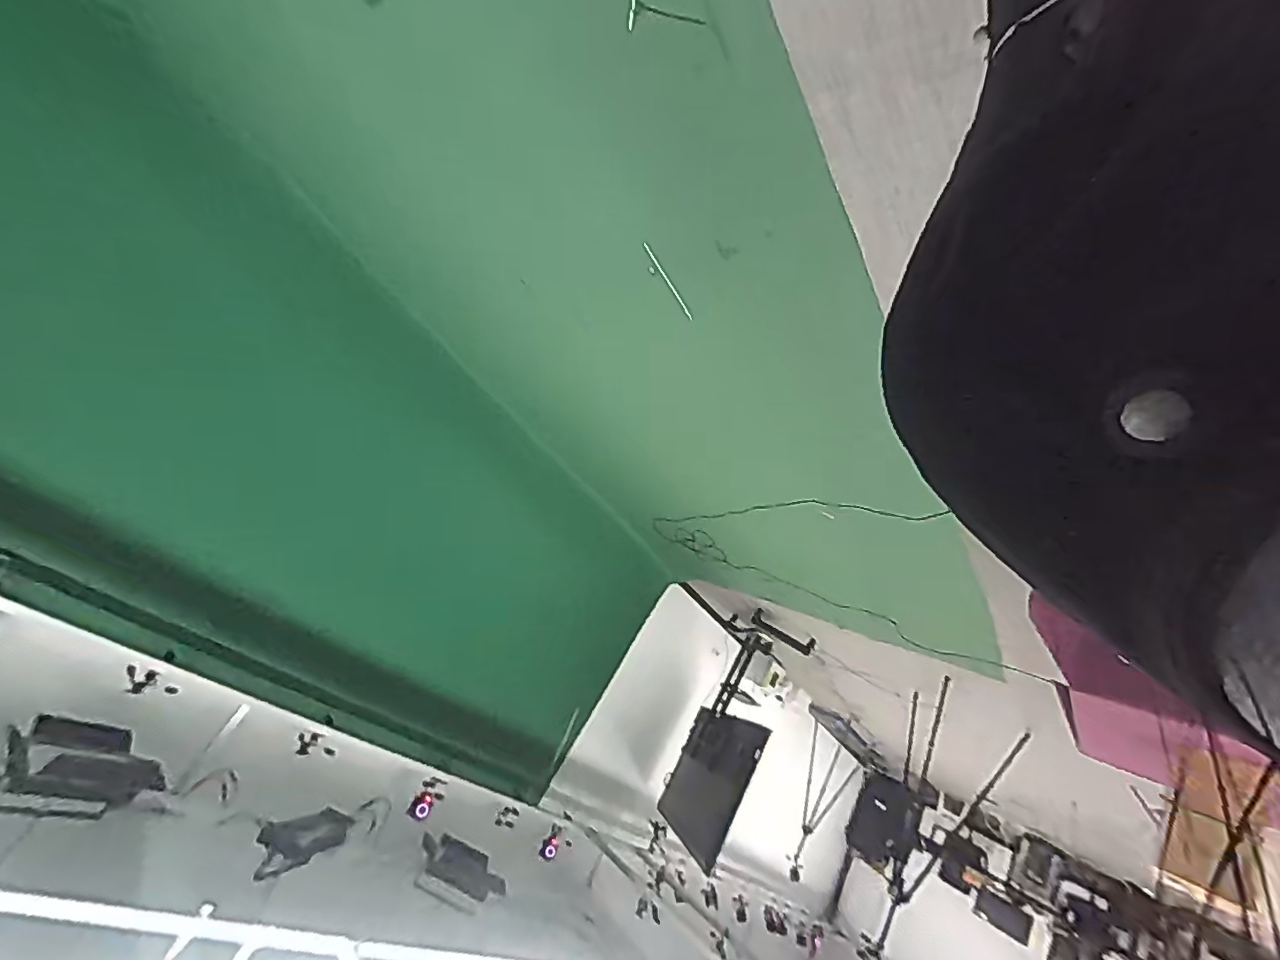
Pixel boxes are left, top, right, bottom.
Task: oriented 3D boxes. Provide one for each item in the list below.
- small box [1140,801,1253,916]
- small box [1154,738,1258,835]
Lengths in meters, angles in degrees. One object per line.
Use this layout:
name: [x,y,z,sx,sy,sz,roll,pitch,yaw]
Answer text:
small box: [1.397,0.941,1.363,0.179,0.176,0.168,9,149,48]
small box: [1.484,0.814,1.422,0.179,0.176,0.168,8,148,49]
